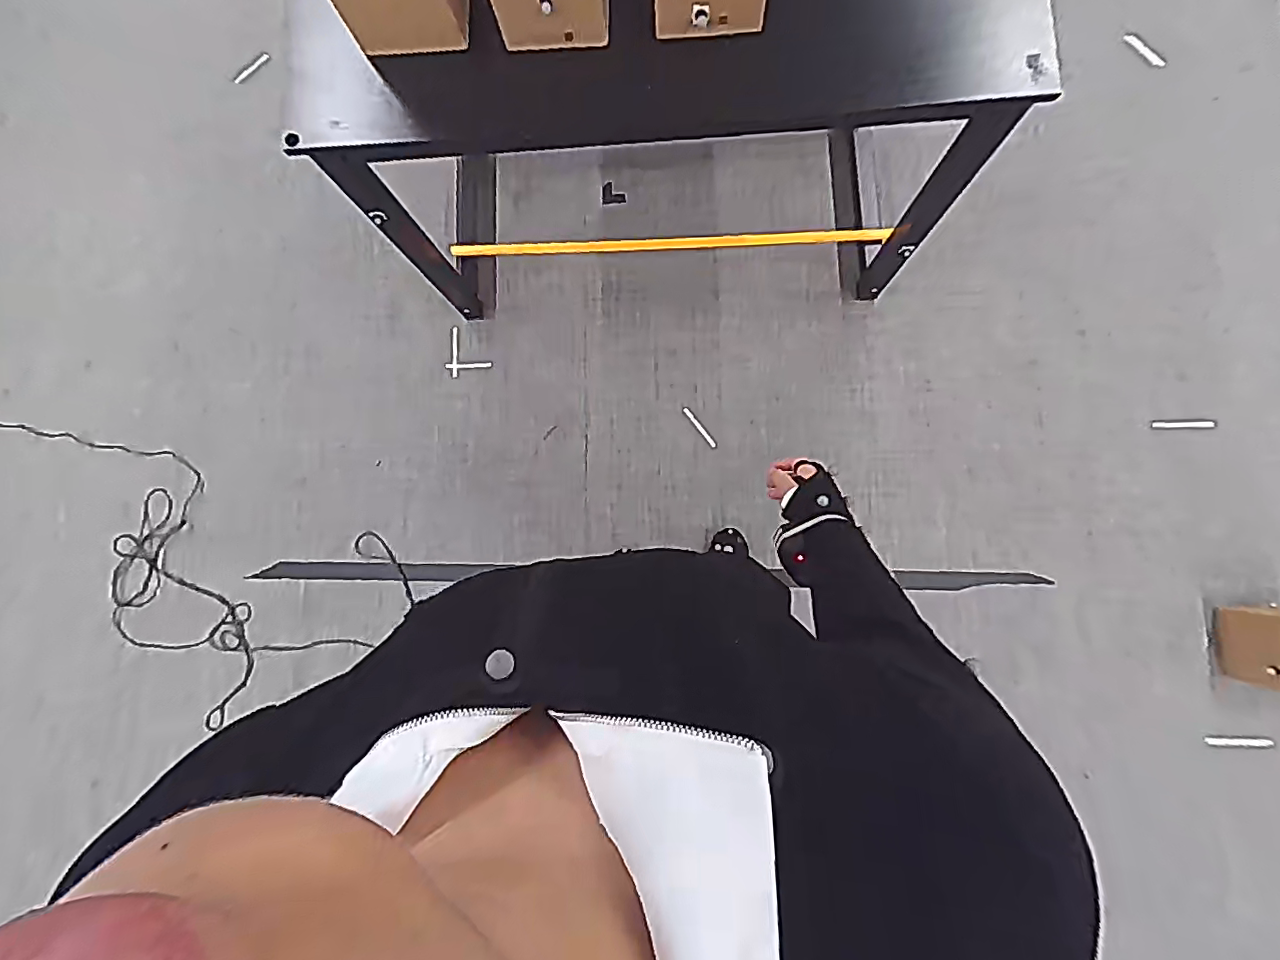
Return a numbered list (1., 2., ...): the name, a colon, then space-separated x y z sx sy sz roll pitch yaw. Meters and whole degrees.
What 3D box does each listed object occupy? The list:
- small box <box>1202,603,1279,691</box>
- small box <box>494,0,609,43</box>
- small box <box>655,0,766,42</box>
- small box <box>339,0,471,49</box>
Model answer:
1. small box: 1.526 0.398 1.303 0.168 0.176 0.179 -2 84 4
2. small box: -0.136 -0.788 0.797 0.168 0.176 0.179 0 84 4
3. small box: 0.102 -0.792 0.784 0.168 0.176 0.179 -2 84 5
4. small box: -0.368 -0.791 0.810 0.179 0.176 0.168 -1 84 3
